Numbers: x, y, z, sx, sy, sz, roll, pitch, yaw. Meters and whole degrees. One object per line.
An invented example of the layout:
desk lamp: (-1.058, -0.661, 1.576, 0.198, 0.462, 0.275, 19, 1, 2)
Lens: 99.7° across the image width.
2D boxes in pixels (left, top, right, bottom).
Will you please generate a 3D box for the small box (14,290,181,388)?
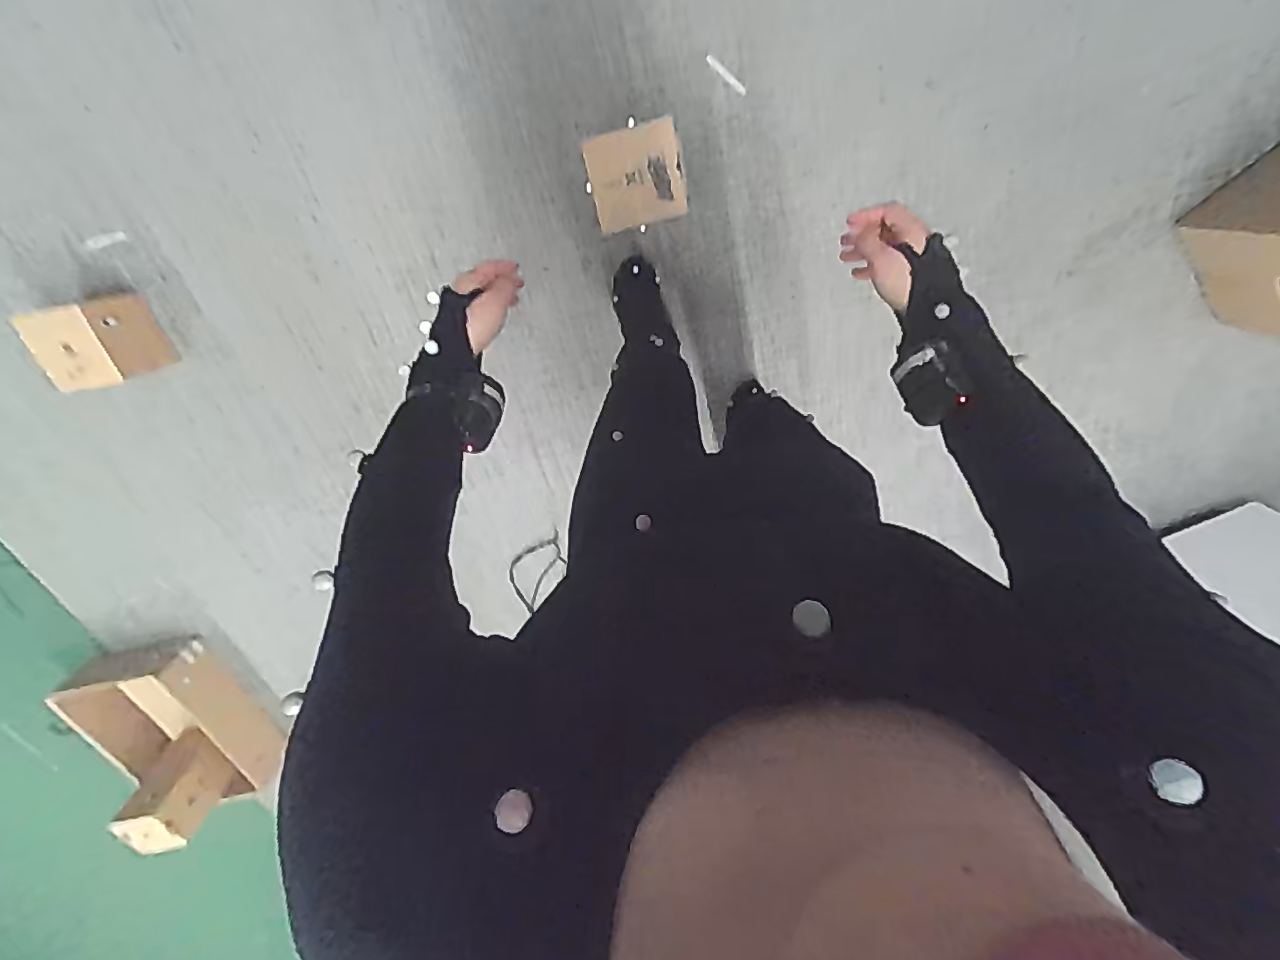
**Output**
small box: (-1.234, -0.332, 1.247, 0.168, 0.176, 0.179, -8, 118, 5)

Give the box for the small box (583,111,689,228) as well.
small box: (-0.006, -0.625, 1.096, 0.179, 0.176, 0.168, -12, 118, 7)

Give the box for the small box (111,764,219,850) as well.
small box: (-1.525, 1.057, 1.757, 0.179, 0.176, 0.168, -16, 118, 6)
